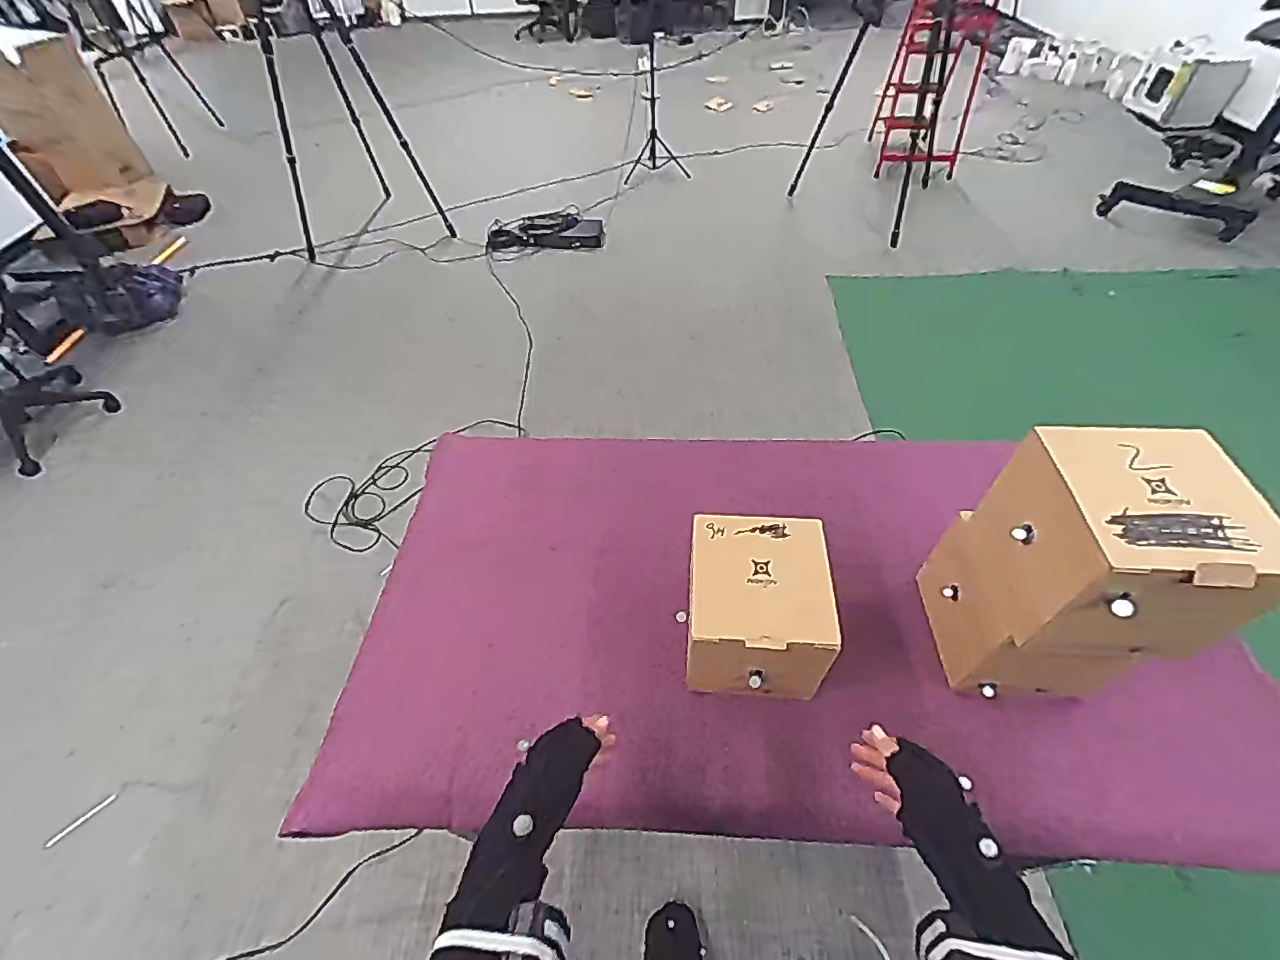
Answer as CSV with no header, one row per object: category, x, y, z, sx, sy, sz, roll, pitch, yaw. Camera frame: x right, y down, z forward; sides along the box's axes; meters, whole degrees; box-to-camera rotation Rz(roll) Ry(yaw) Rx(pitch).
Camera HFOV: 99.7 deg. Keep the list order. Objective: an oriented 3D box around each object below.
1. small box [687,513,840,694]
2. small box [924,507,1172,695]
small box,0.149,0.164,0.703,0.168,0.176,0.179,3,51,5
small box,0.490,0.157,0.687,0.168,0.176,0.179,4,51,5
